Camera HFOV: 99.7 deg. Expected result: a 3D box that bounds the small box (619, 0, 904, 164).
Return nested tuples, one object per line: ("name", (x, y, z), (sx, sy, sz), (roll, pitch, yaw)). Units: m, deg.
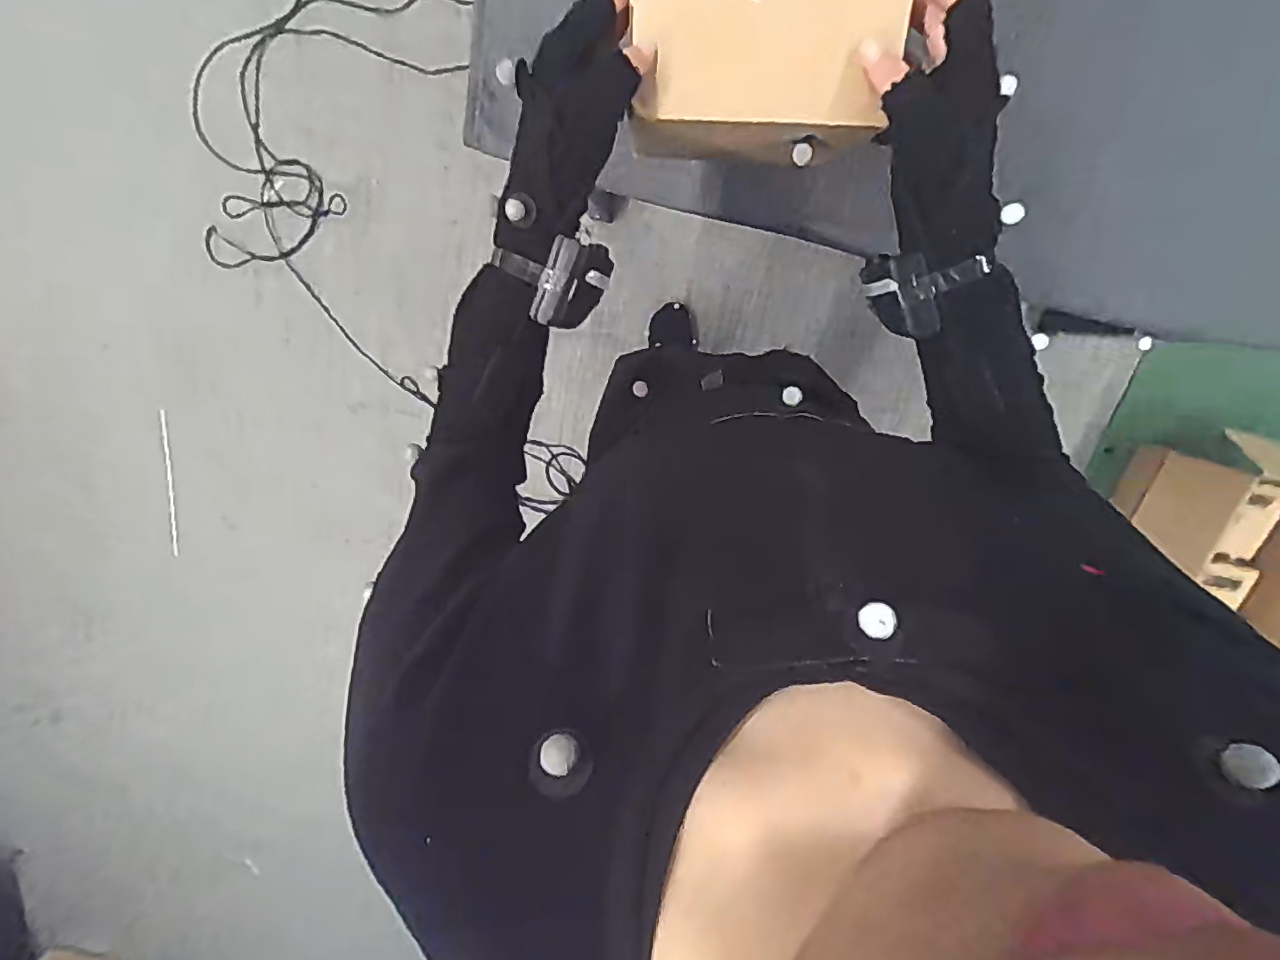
("small box", (0.078, -0.341, 0.398), (0.179, 0.176, 0.168), (3, 113, 1))
